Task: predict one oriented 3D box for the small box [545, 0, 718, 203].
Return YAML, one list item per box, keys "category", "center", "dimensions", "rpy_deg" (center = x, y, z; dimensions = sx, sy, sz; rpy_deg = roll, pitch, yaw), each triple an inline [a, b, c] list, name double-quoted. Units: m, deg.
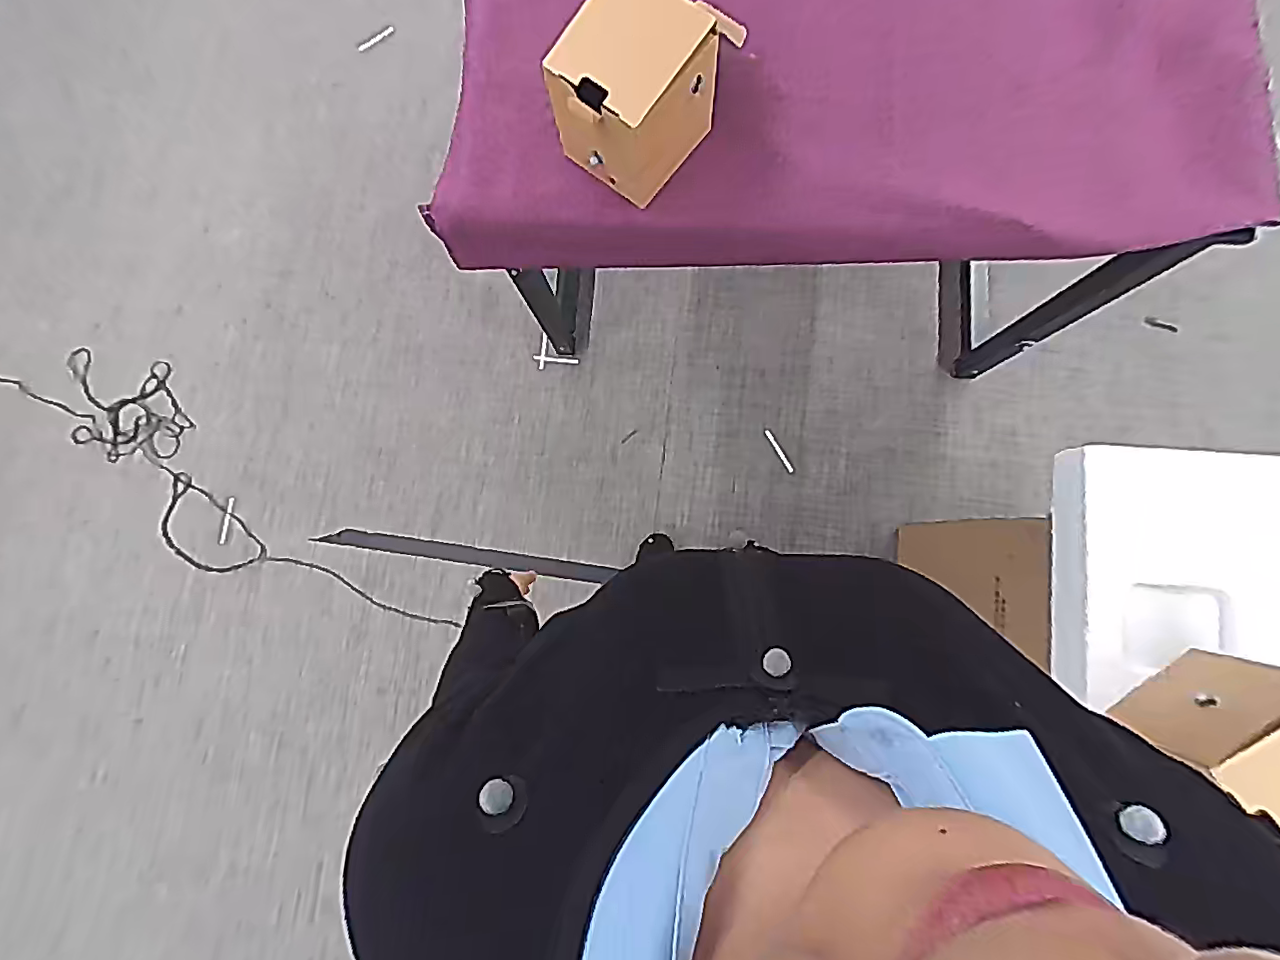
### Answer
- category: "small box"
  center: [-0.009, -0.557, 0.790]
  dimensions: [0.168, 0.176, 0.179]
  rpy_deg: [39, 86, 8]
